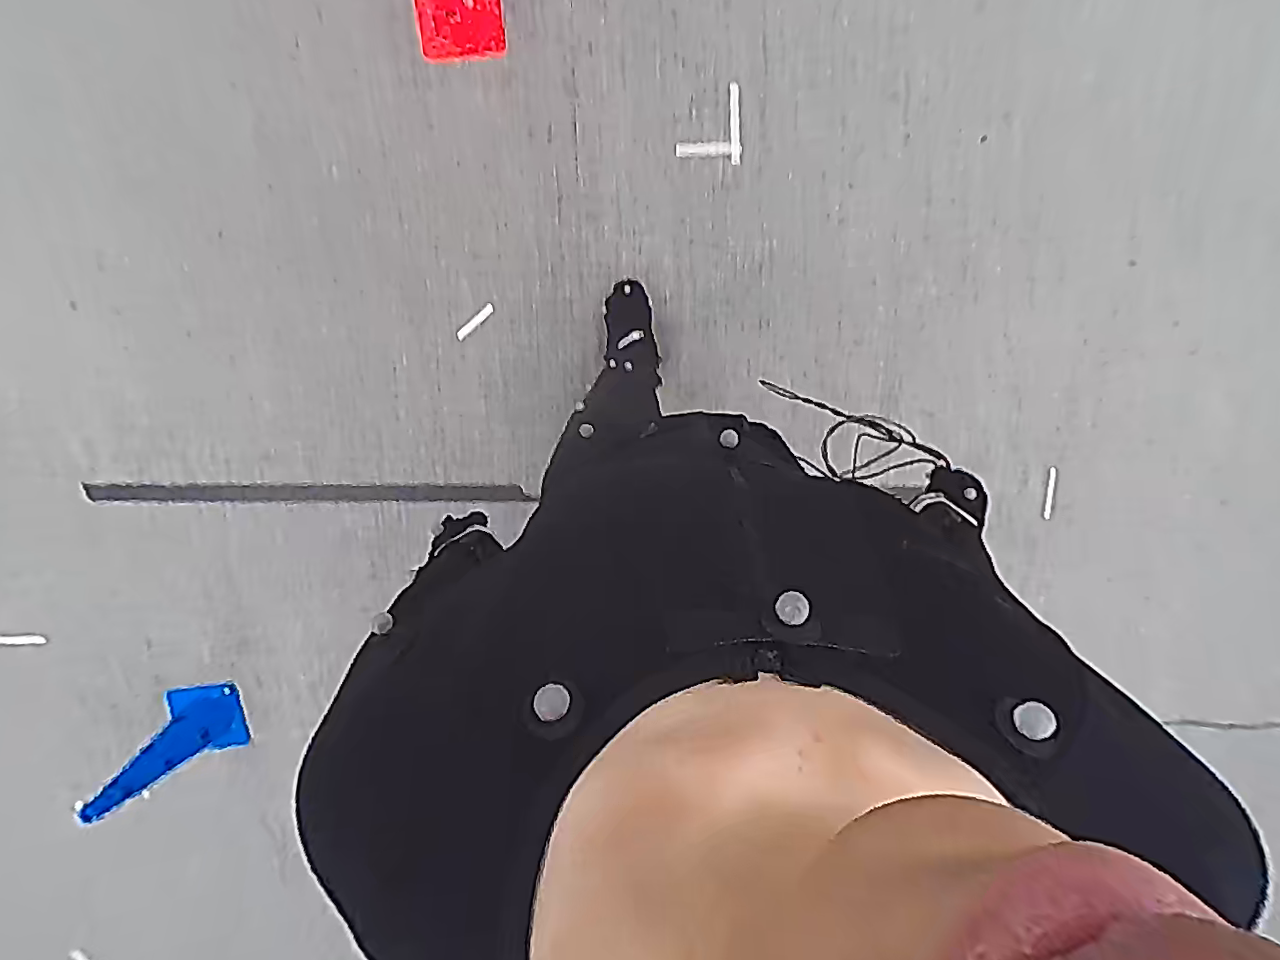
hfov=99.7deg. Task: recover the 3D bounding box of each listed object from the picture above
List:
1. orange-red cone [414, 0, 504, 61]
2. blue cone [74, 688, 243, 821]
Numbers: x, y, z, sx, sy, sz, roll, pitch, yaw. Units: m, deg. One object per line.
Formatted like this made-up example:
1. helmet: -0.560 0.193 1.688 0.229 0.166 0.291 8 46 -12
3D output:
1. orange-red cone: -0.417 -1.048 1.073 0.199 0.360 0.198 -5 99 1
2. blue cone: -1.227 0.710 1.368 0.193 0.380 0.192 -5 100 0
